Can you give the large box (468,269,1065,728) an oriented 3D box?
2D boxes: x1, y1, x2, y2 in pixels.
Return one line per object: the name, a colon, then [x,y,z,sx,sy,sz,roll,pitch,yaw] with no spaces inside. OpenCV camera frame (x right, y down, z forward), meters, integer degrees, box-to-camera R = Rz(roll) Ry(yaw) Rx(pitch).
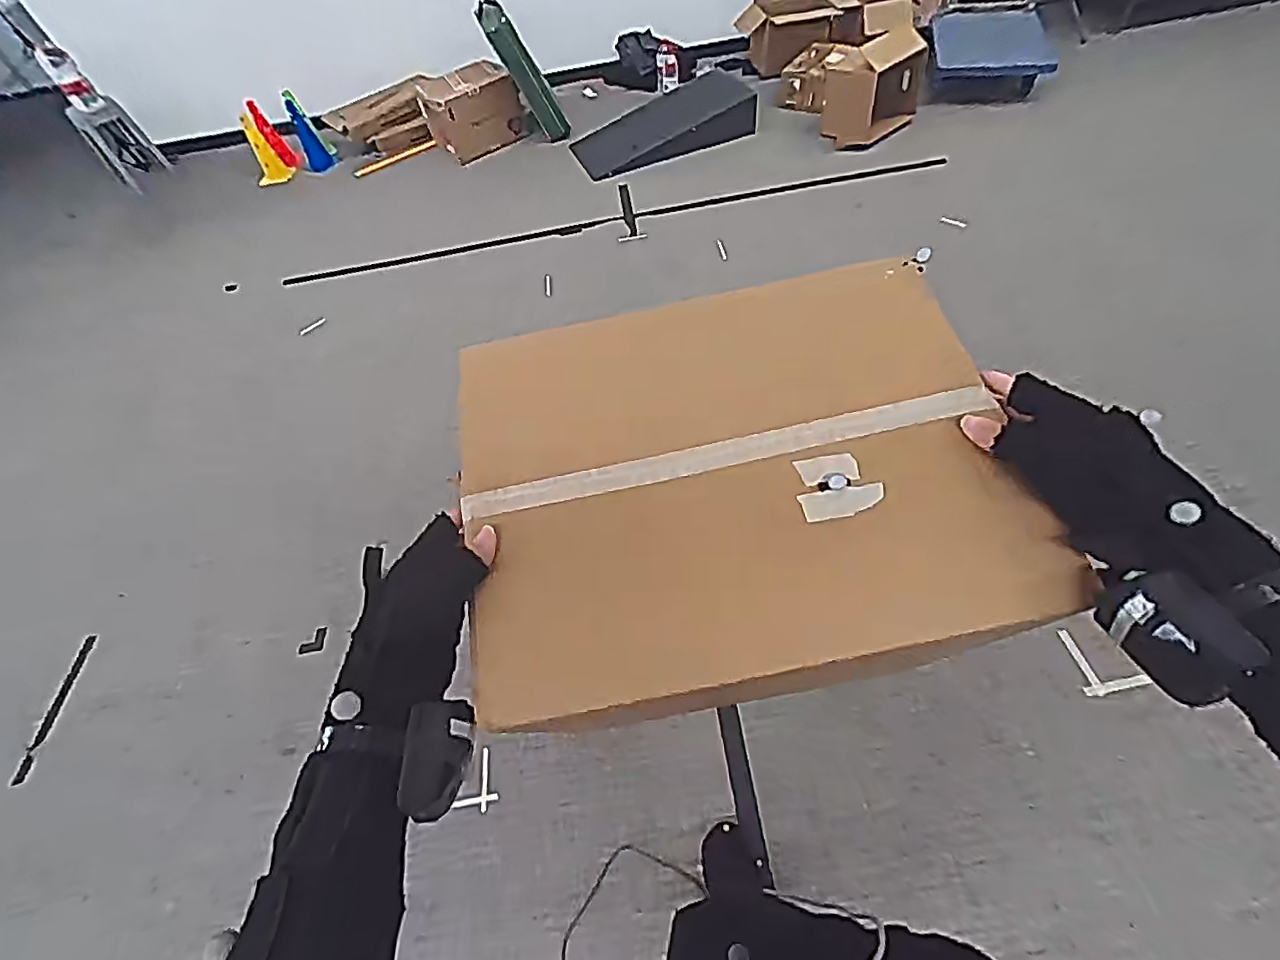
large box: [0.078,0.048,0.559,0.408,0.320,0.320,-12,65,0]
